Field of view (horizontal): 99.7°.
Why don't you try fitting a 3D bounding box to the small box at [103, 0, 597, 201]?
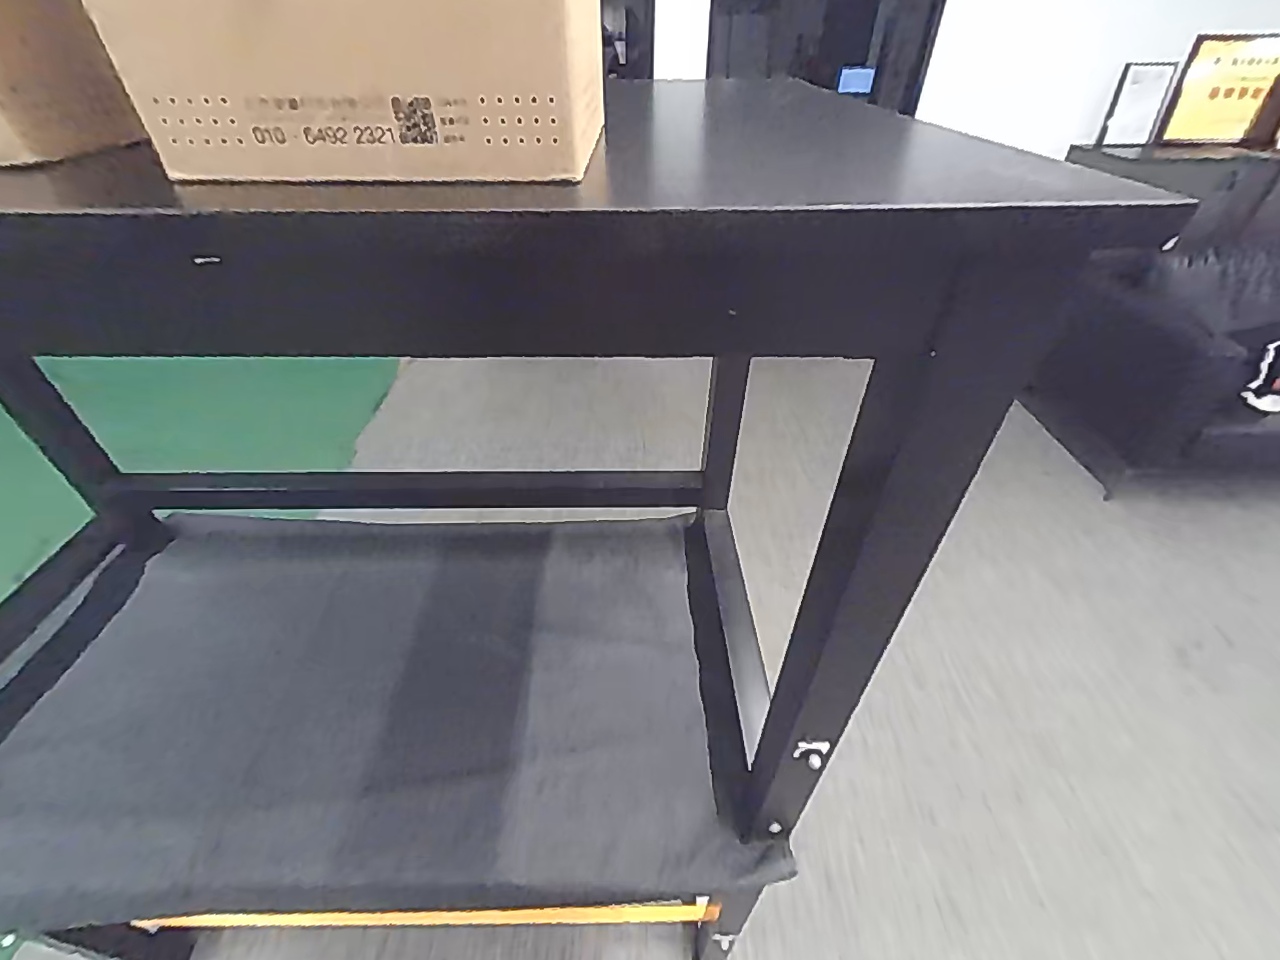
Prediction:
[{"bbox_3d":[-0.108,-0.231,0.238,0.168,0.176,0.179,1,39,0],"label":"small box"}]
